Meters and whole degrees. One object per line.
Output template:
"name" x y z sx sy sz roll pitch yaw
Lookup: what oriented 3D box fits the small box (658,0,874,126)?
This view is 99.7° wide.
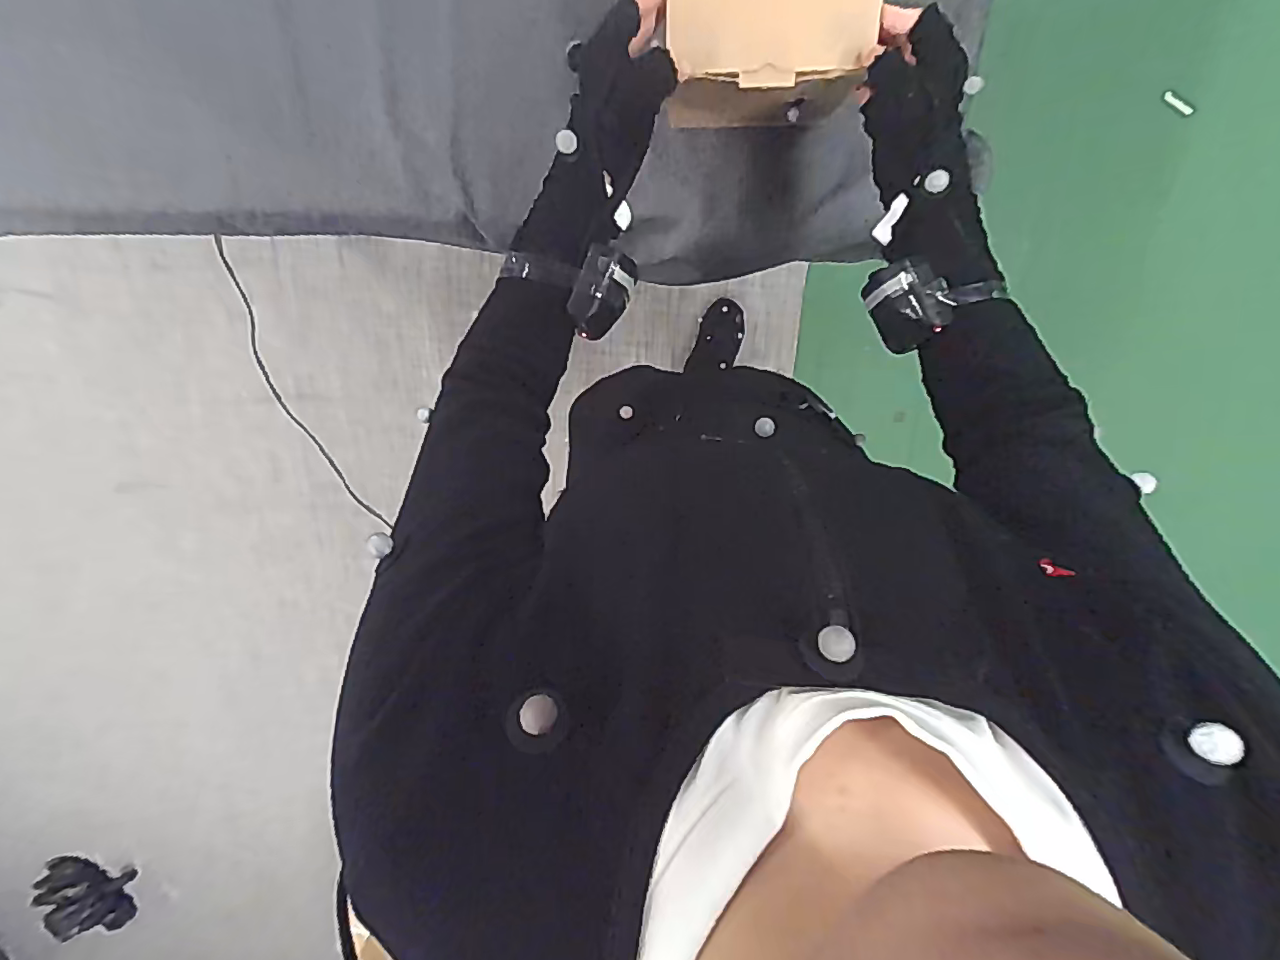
"small box" 0.103 -0.430 0.476 0.168 0.176 0.179 1 110 4
